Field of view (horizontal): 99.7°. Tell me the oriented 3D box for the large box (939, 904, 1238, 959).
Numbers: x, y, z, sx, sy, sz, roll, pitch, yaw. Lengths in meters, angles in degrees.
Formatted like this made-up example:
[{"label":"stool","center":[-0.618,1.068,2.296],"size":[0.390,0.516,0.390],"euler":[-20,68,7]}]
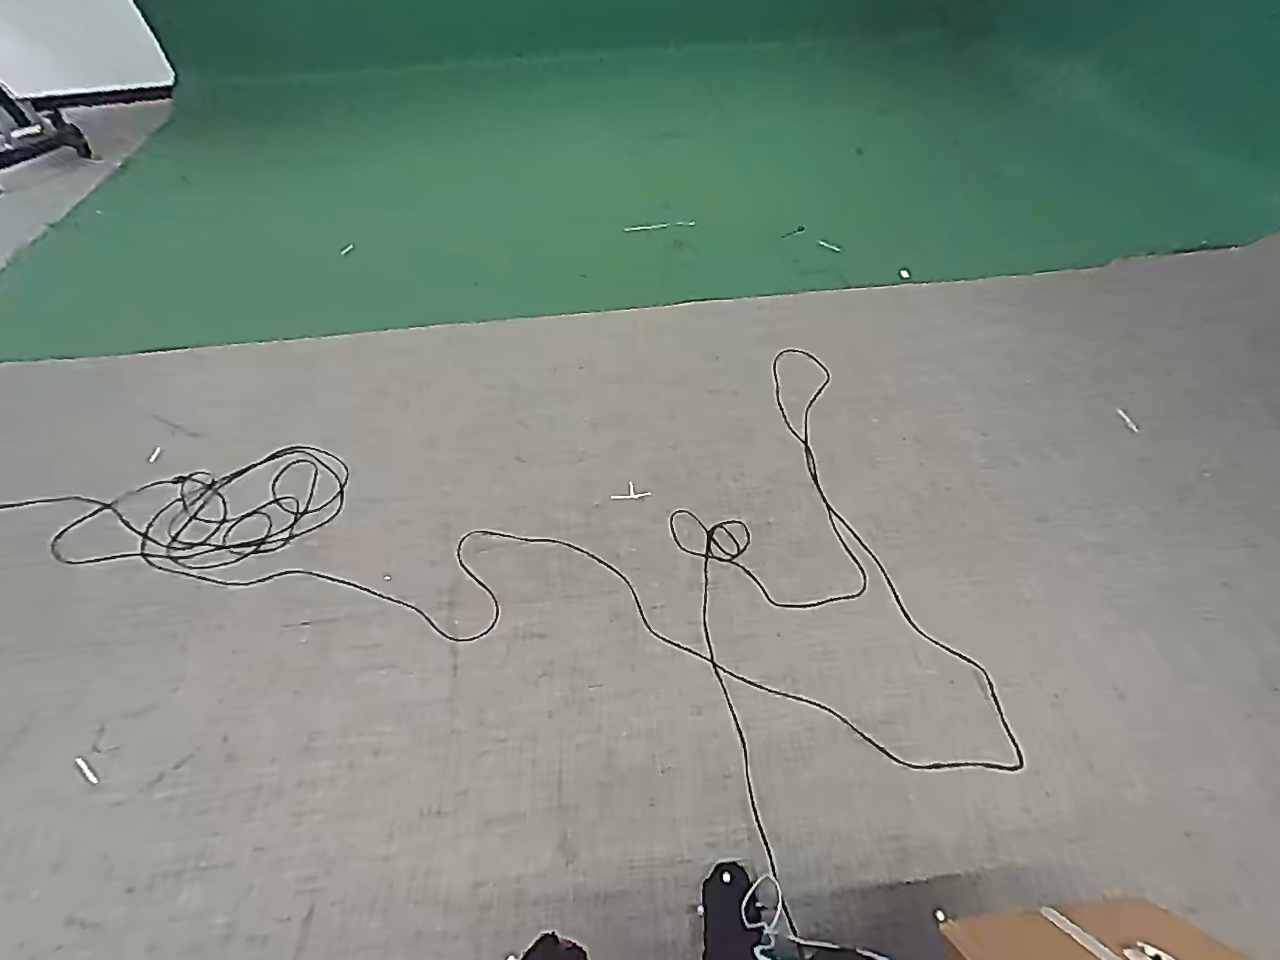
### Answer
[{"label":"large box","center":[0.601,0.734,0.562],"size":[0.320,0.408,0.320],"euler":[-6,75,0]}]
